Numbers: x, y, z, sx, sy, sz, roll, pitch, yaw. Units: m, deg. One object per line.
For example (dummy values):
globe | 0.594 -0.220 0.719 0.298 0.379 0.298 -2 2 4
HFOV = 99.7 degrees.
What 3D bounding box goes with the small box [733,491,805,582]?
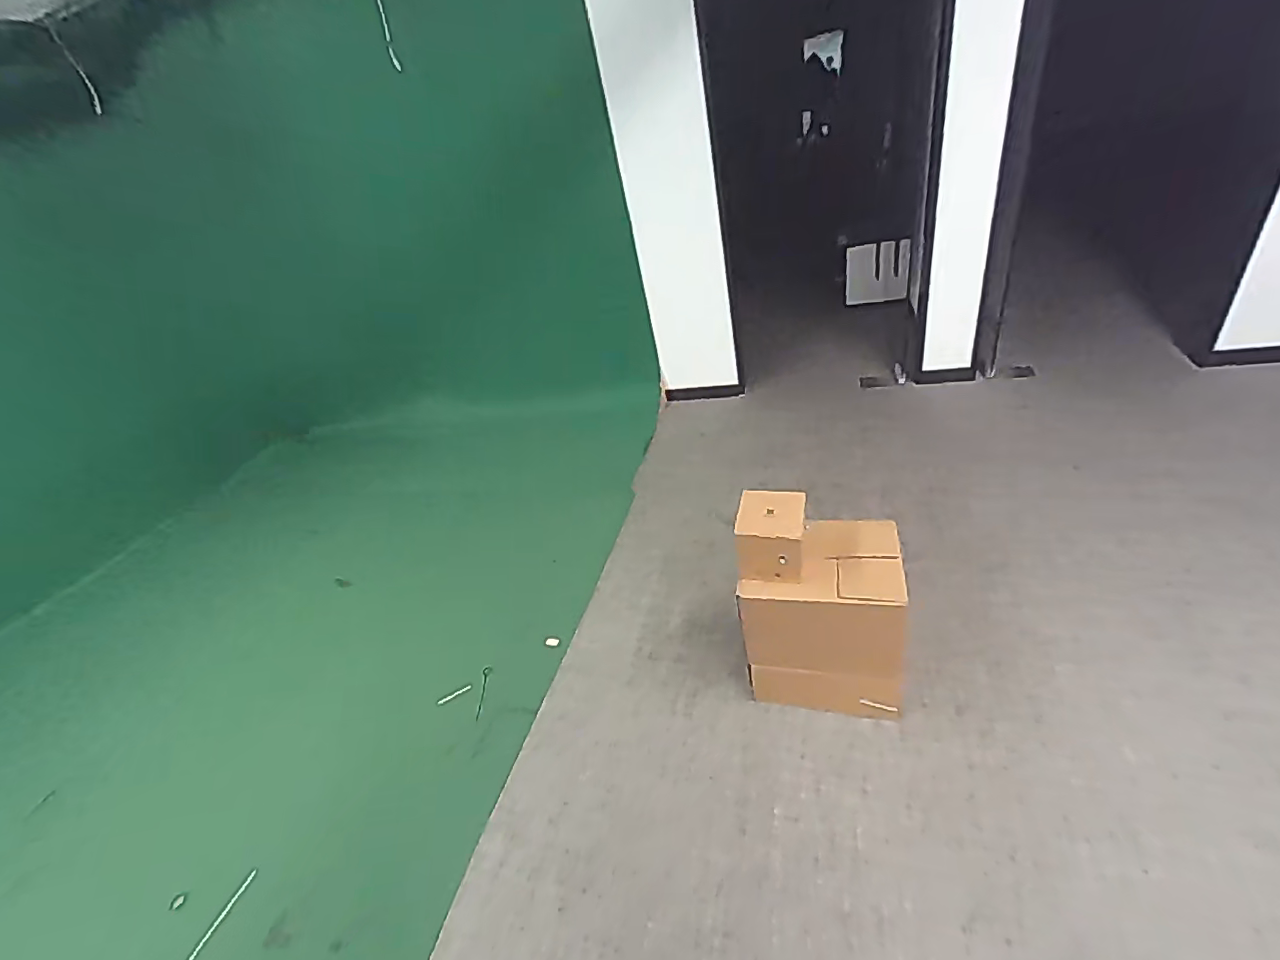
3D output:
small box | 0.348 0.149 1.435 0.168 0.176 0.179 2 38 19
